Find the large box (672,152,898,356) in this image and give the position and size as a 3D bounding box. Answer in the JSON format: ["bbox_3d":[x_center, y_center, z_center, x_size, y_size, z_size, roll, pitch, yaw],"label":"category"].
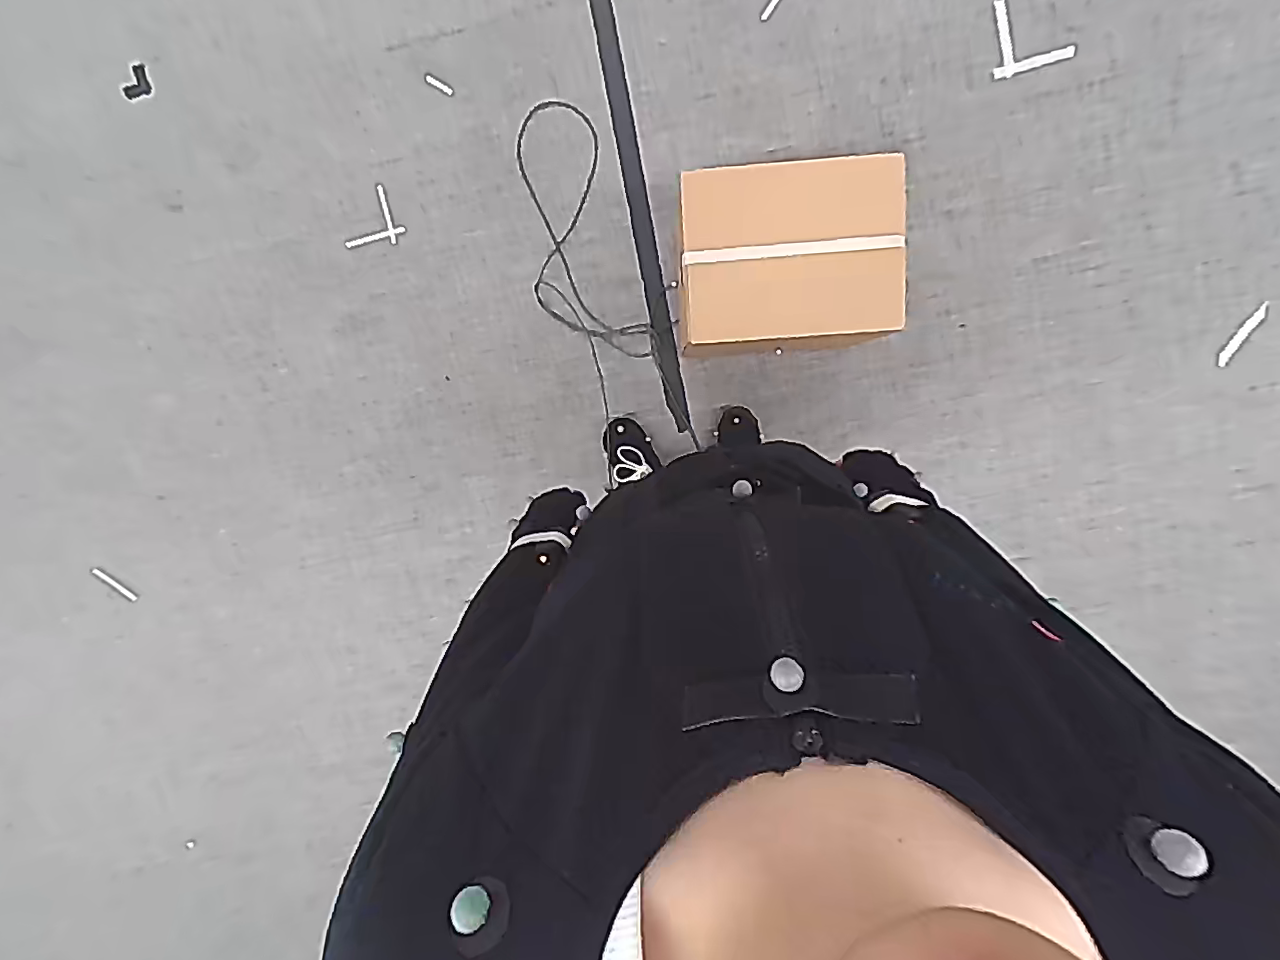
[{"bbox_3d":[0.282,-0.449,1.155,0.408,0.320,0.320,-3,98,2],"label":"large box"}]
